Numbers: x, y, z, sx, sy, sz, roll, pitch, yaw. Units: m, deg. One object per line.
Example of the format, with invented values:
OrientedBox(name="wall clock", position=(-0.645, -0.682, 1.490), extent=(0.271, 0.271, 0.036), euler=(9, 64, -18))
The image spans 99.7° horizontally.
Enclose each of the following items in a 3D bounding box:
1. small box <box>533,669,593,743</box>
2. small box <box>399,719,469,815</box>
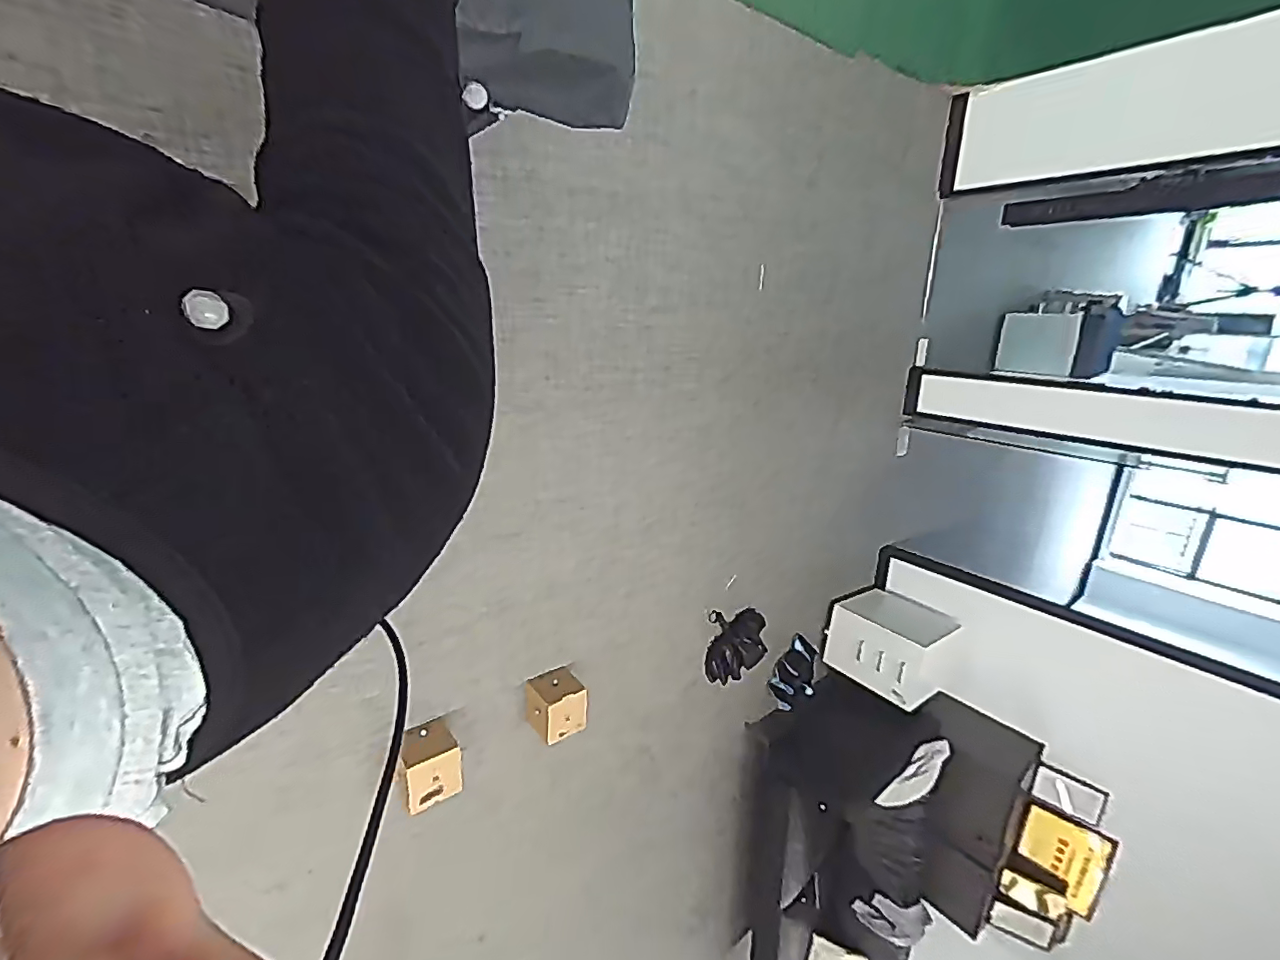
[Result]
OrientedBox(name="small box", position=(-0.292, 0.833, 2.025), extent=(0.168, 0.176, 0.179), euler=(-11, 110, -38))
OrientedBox(name="small box", position=(-0.661, 0.912, 1.733), extent=(0.168, 0.176, 0.179), euler=(-11, 109, -39))
